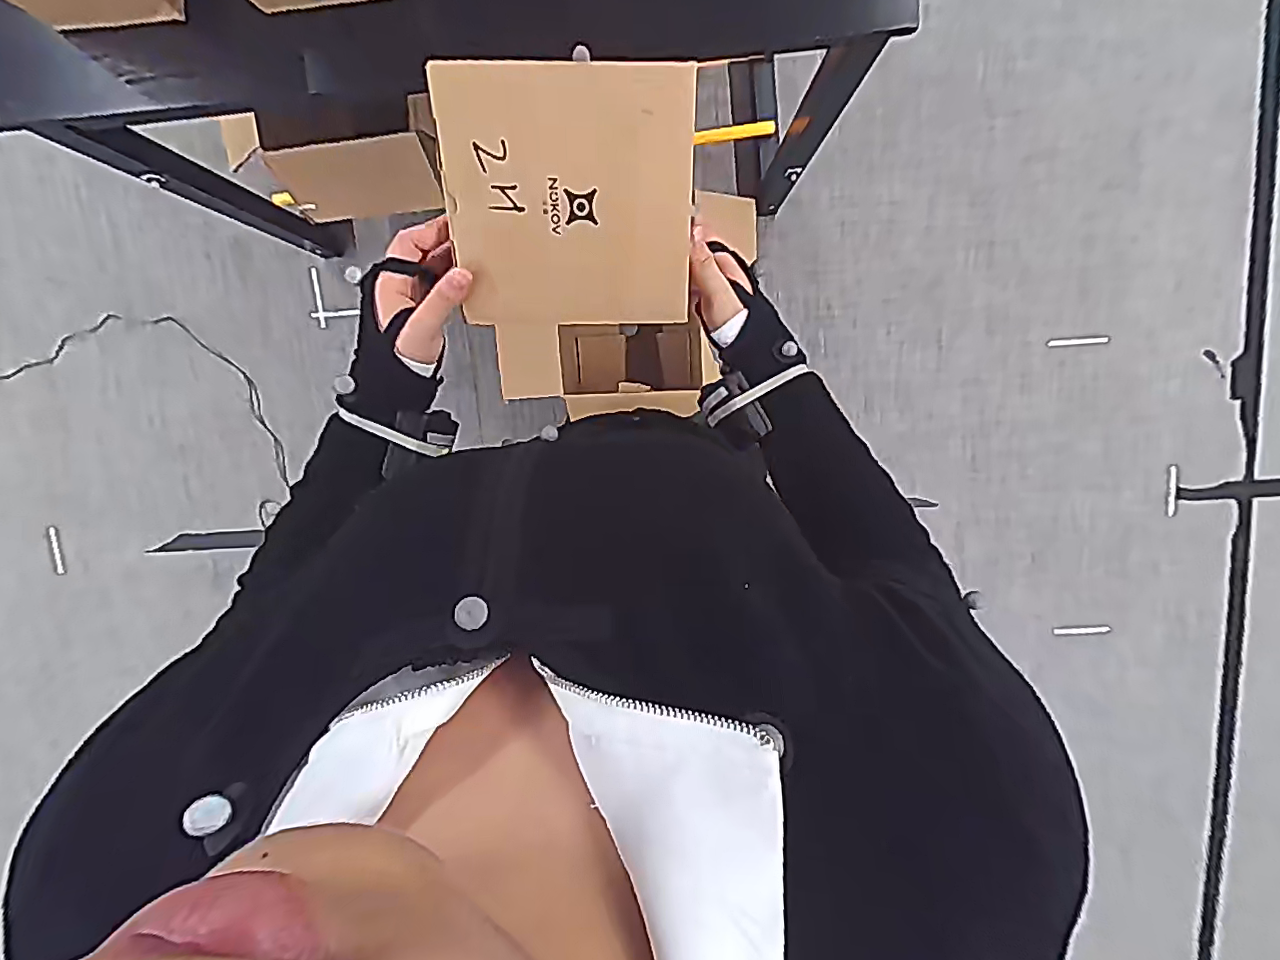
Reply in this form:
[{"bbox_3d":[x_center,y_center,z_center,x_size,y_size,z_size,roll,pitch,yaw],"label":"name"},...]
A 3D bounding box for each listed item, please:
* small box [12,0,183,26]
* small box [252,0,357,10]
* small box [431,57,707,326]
[{"bbox_3d":[-0.656,-0.634,0.583,0.179,0.176,0.168,-3,99,0],"label":"small box"},{"bbox_3d":[-0.393,-0.654,0.576,0.179,0.176,0.168,-6,98,1],"label":"small box"},{"bbox_3d":[-0.048,-0.227,0.445,0.179,0.176,0.168,-1,117,-2],"label":"small box"}]
